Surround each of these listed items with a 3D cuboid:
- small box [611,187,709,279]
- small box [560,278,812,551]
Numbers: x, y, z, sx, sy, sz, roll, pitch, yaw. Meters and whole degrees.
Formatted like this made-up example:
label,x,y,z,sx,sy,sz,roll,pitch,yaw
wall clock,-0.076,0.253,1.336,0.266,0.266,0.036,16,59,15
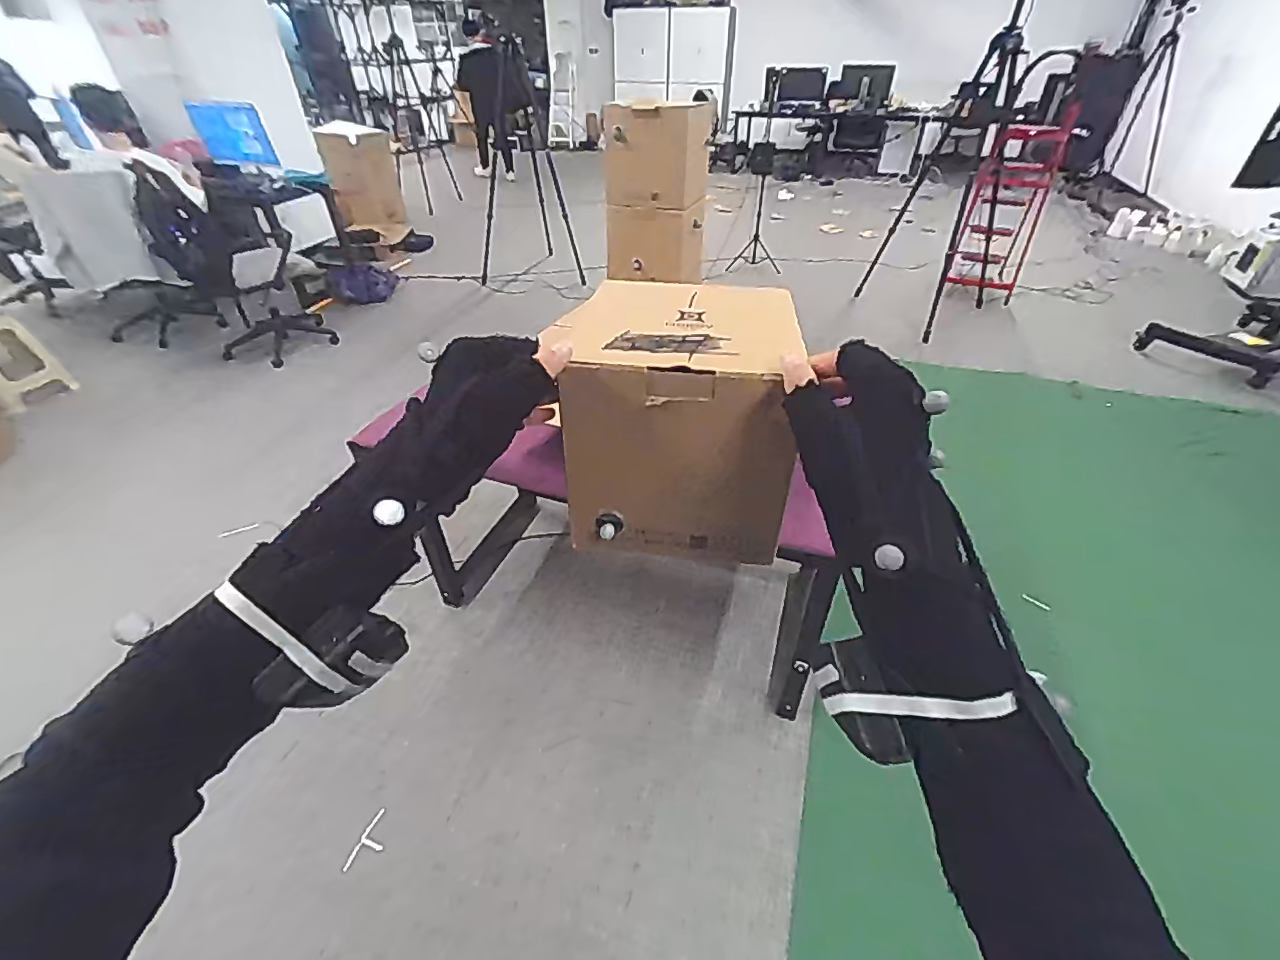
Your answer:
label,x,y,z,sx,sy,sz,roll,pitch,yaw
small box,0.042,-0.522,1.174,0.168,0.176,0.179,13,40,15
small box,0.035,-0.058,0.458,0.168,0.176,0.179,3,39,3
